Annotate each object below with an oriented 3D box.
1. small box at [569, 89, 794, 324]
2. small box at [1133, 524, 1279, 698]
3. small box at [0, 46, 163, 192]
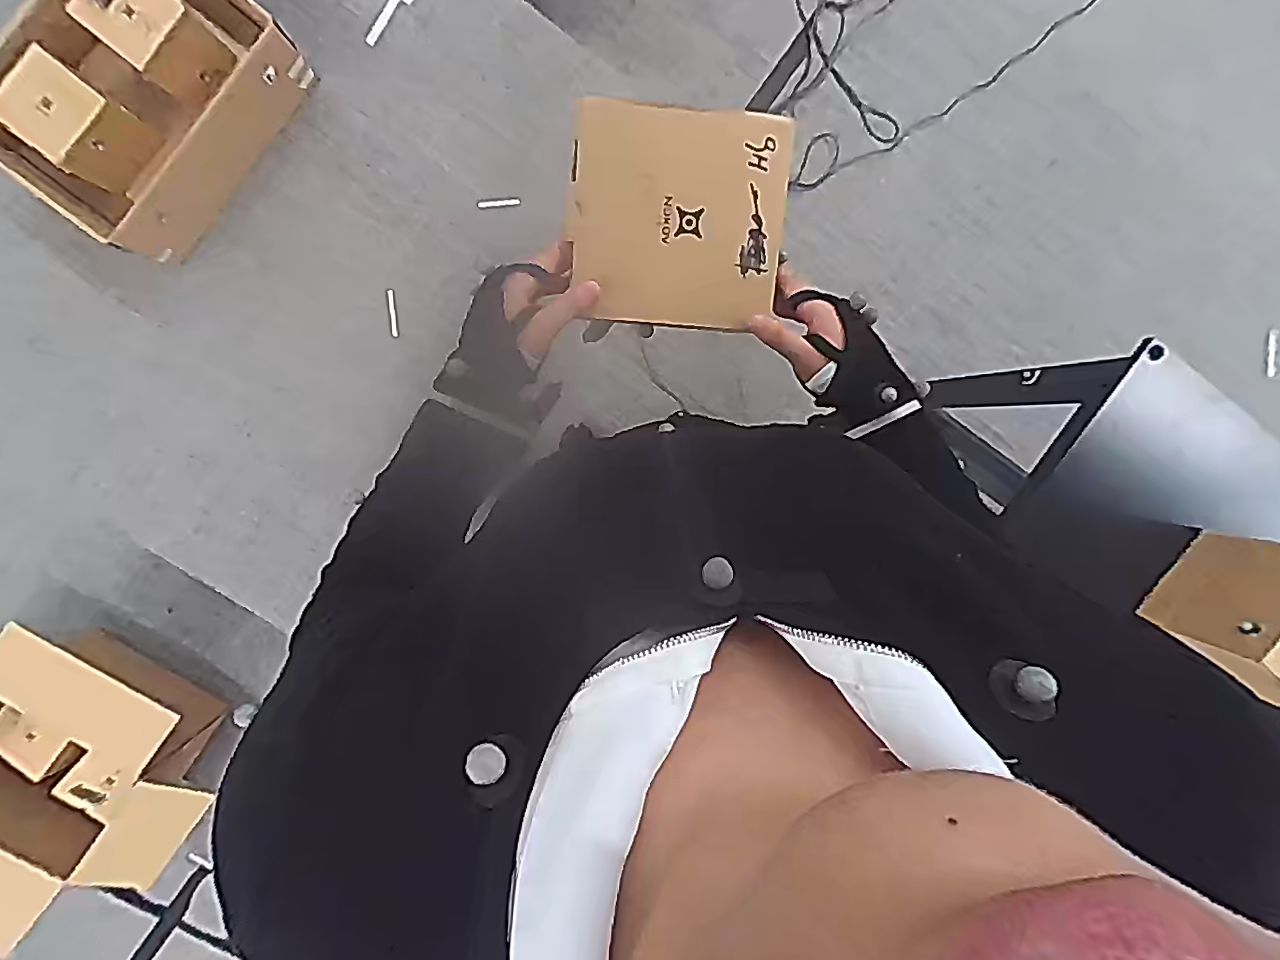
[{"bbox_3d":[0.029,-0.243,0.523,0.179,0.176,0.168,3,105,-4],"label":"small box"},{"bbox_3d":[0.876,0.184,0.767,0.168,0.176,0.179,36,93,-7],"label":"small box"},{"bbox_3d":[-1.236,-0.788,1.204,0.168,0.176,0.179,39,91,-9],"label":"small box"}]
